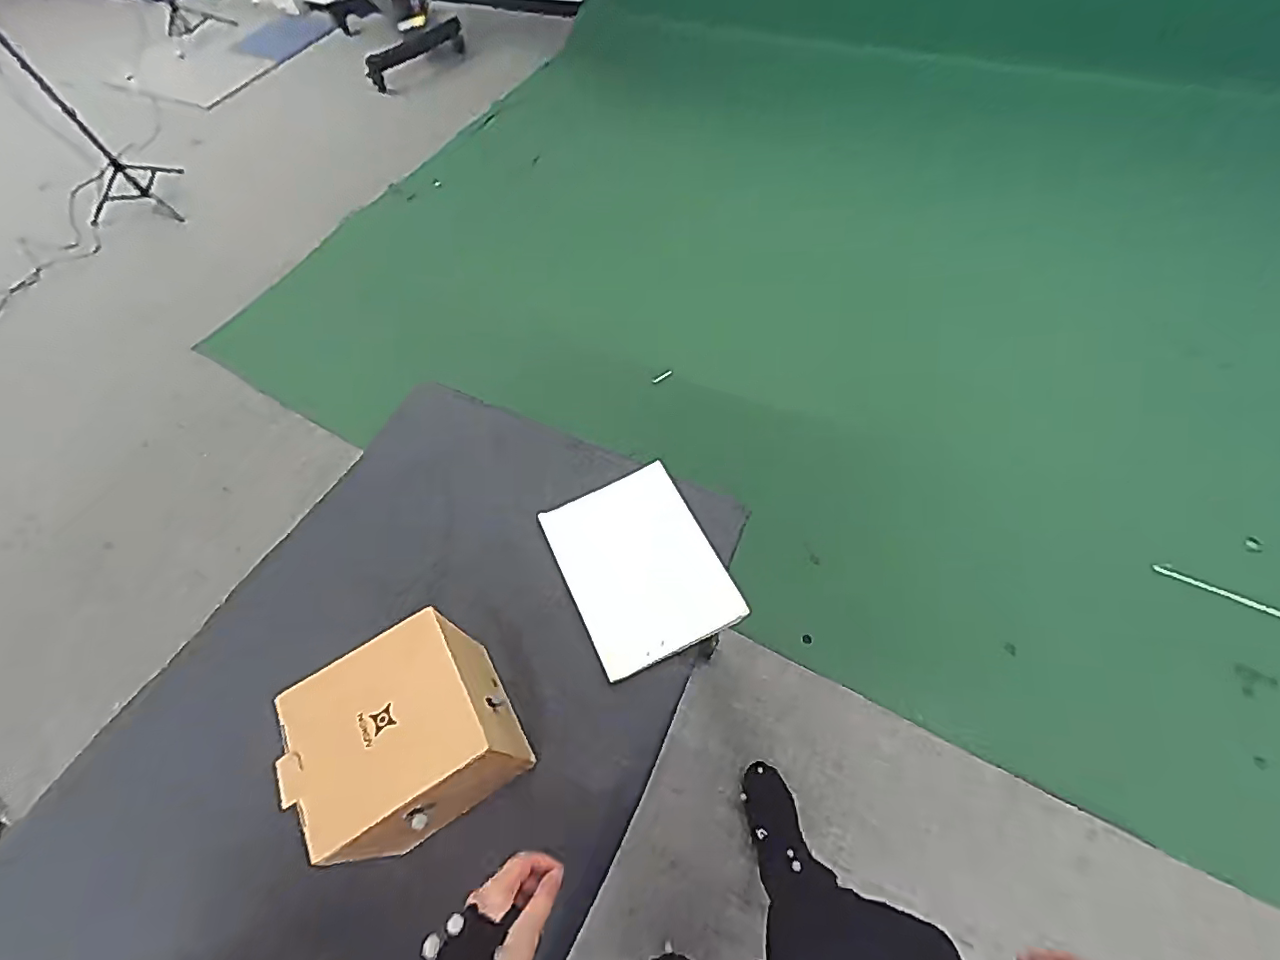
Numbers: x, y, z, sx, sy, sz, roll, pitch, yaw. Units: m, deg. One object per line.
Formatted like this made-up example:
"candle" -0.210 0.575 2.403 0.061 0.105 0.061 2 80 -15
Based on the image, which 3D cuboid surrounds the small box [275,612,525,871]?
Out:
"small box" -0.241 0.276 0.586 0.179 0.176 0.168 -31 61 -11
